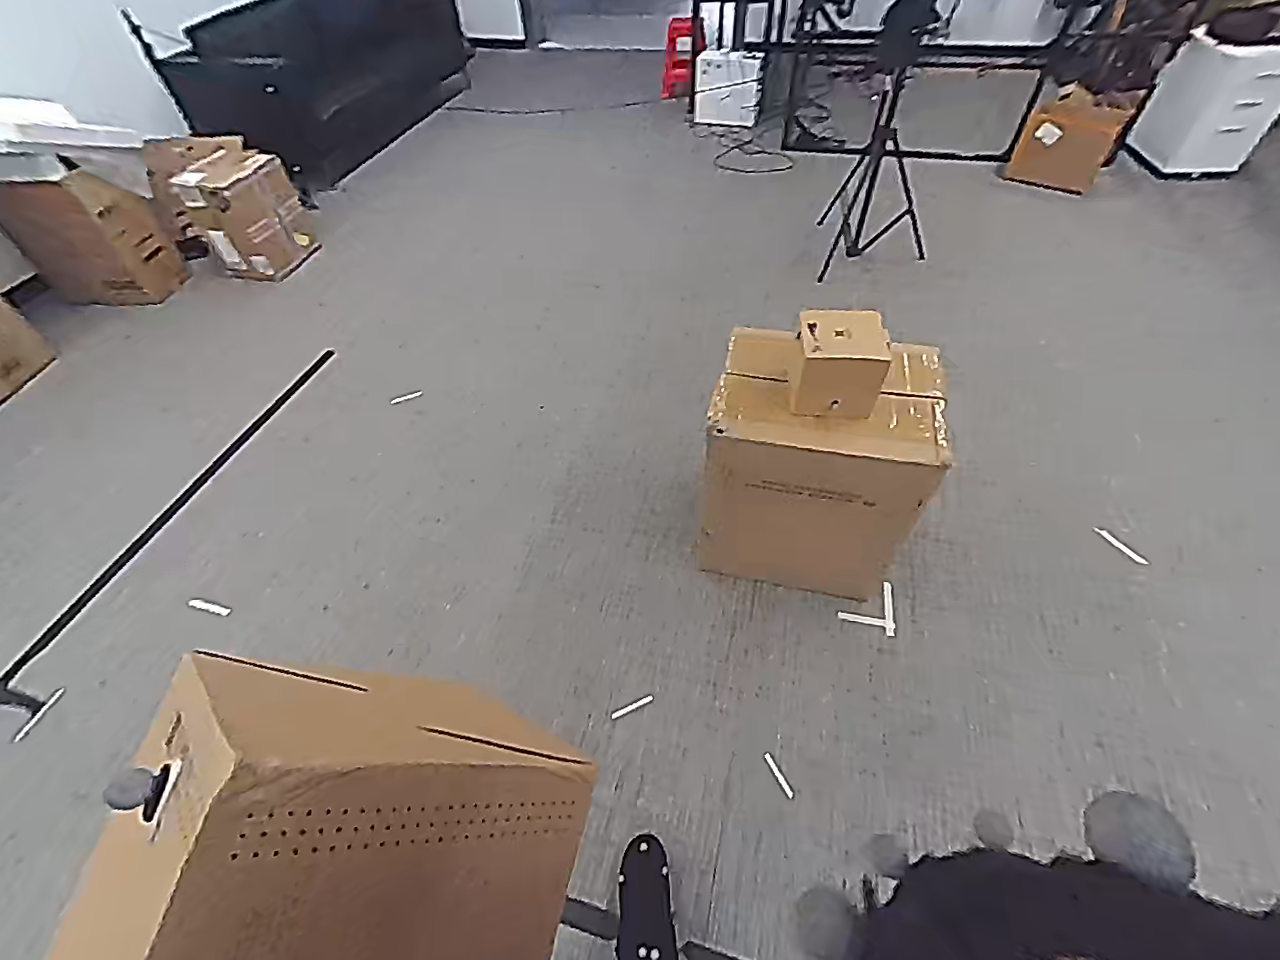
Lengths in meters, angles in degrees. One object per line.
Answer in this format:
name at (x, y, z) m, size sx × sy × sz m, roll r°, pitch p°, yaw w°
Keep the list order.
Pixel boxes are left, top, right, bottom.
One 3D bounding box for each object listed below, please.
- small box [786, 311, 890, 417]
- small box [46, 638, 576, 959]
small box at (0.432, -0.256, 1.209) m, size 0.179 × 0.176 × 0.168 m, roll 3°, pitch 52°, yaw 6°
small box at (-0.159, 0.193, 0.281) m, size 0.168 × 0.179 × 0.176 m, roll -2°, pitch 67°, yaw 47°
